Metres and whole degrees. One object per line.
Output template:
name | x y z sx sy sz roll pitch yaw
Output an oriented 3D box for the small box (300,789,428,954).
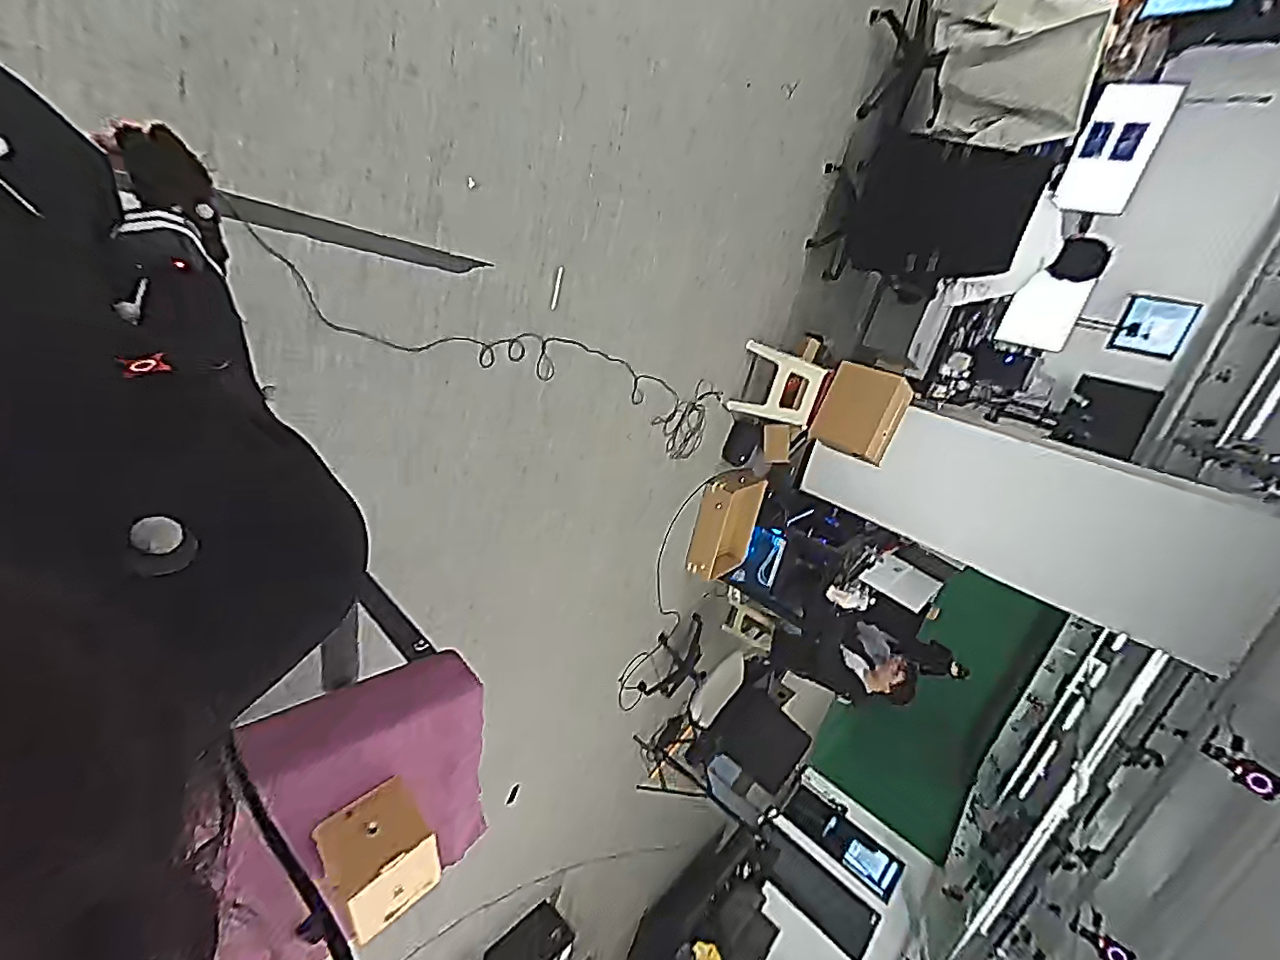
small box | -0.542 0.754 1.066 0.168 0.176 0.179 -21 128 -43
